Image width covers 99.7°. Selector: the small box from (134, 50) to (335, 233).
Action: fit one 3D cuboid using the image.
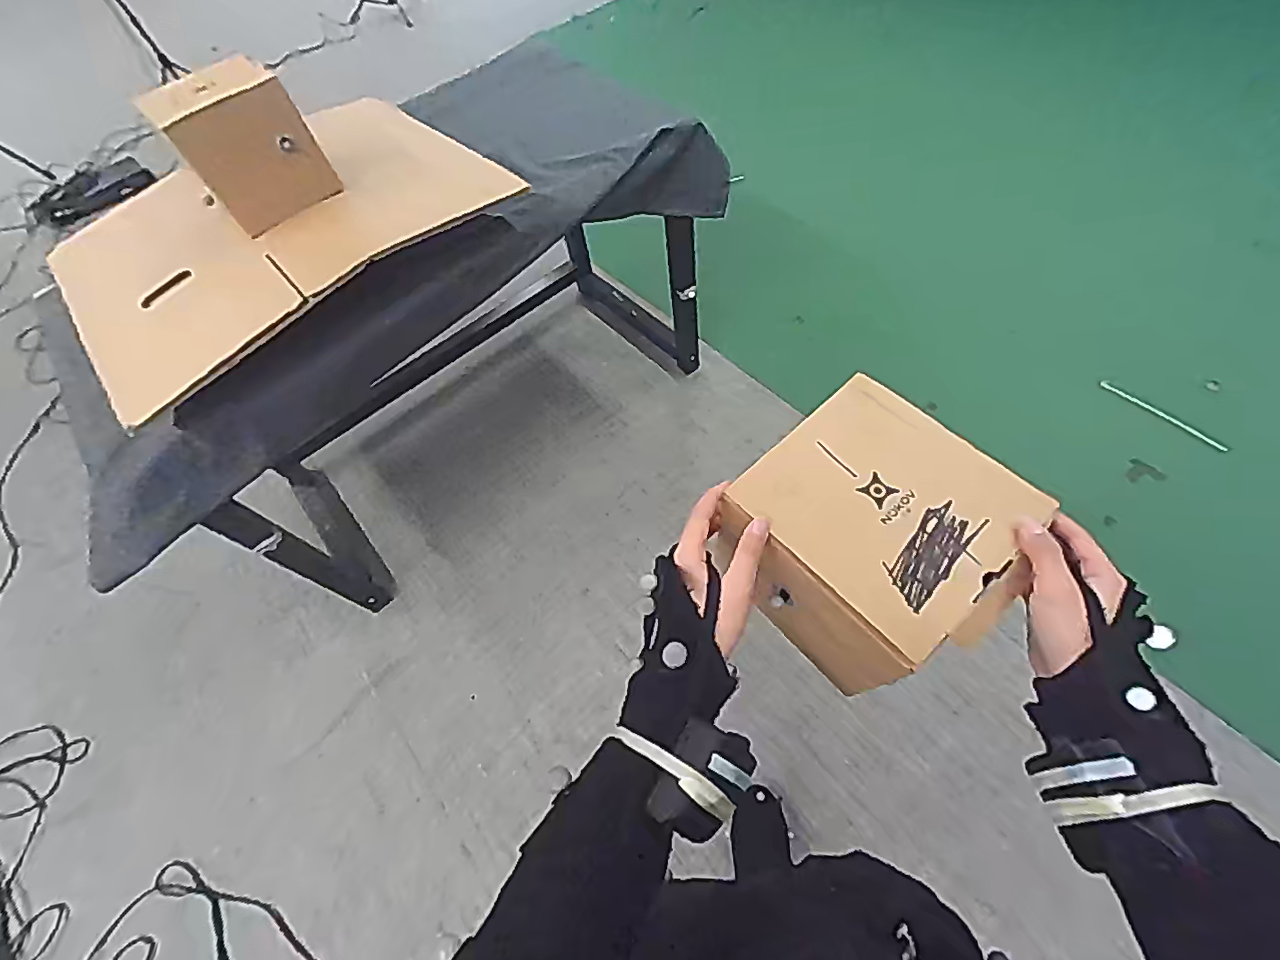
[{"bbox_3d":[-0.620,-0.529,0.851,0.179,0.176,0.168,-42,61,-16],"label":"small box"}]
